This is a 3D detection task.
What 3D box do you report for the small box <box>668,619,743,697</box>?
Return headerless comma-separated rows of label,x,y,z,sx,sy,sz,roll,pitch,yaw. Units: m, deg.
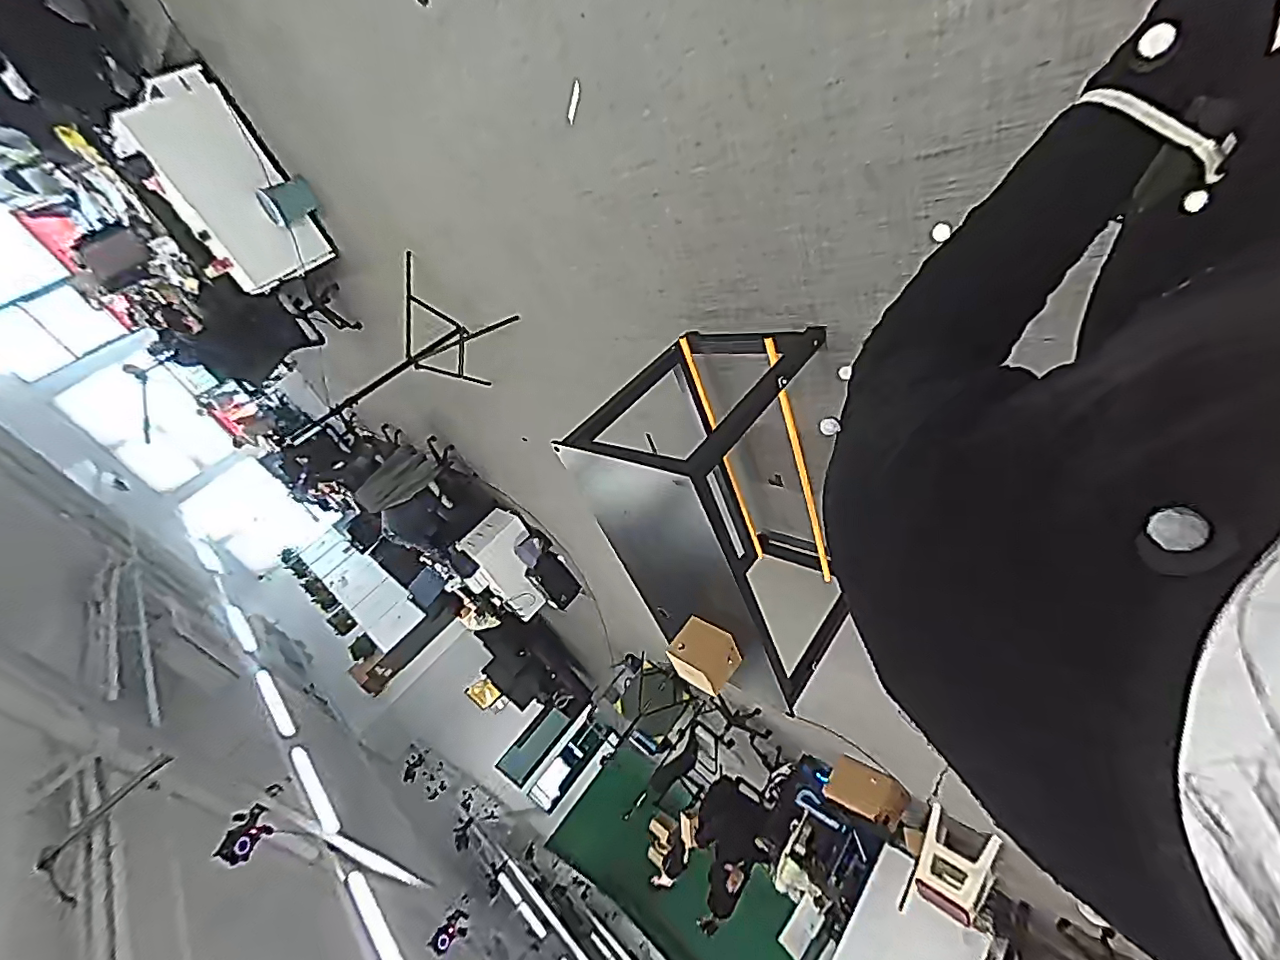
small box,0.234,0.622,1.912,0.179,0.176,0.168,17,143,43
